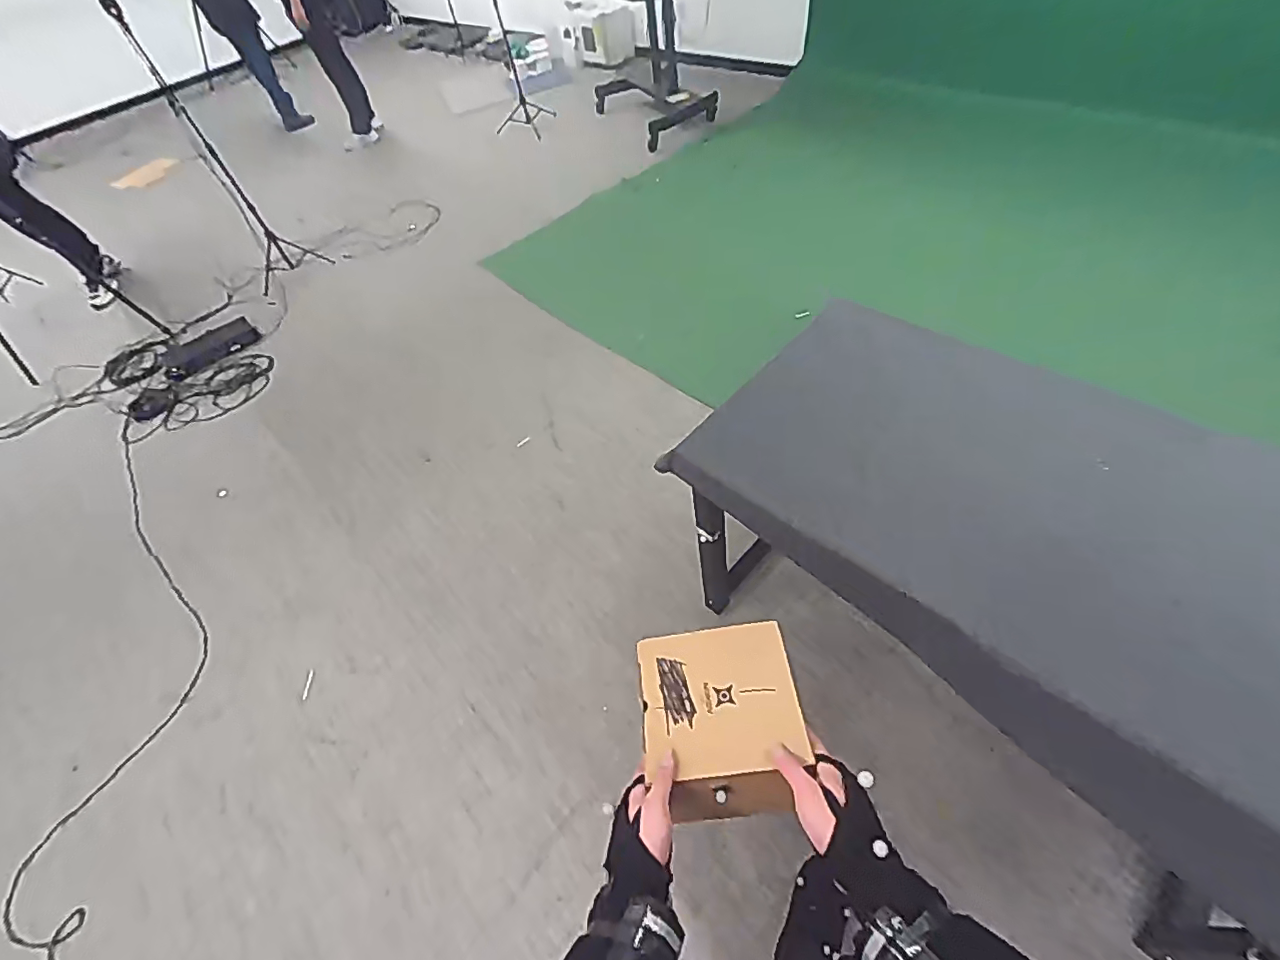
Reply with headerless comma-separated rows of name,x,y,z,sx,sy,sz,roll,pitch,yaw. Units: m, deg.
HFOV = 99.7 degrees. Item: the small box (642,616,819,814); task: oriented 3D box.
small box,0.104,0.288,0.655,0.179,0.176,0.168,-9,46,4
